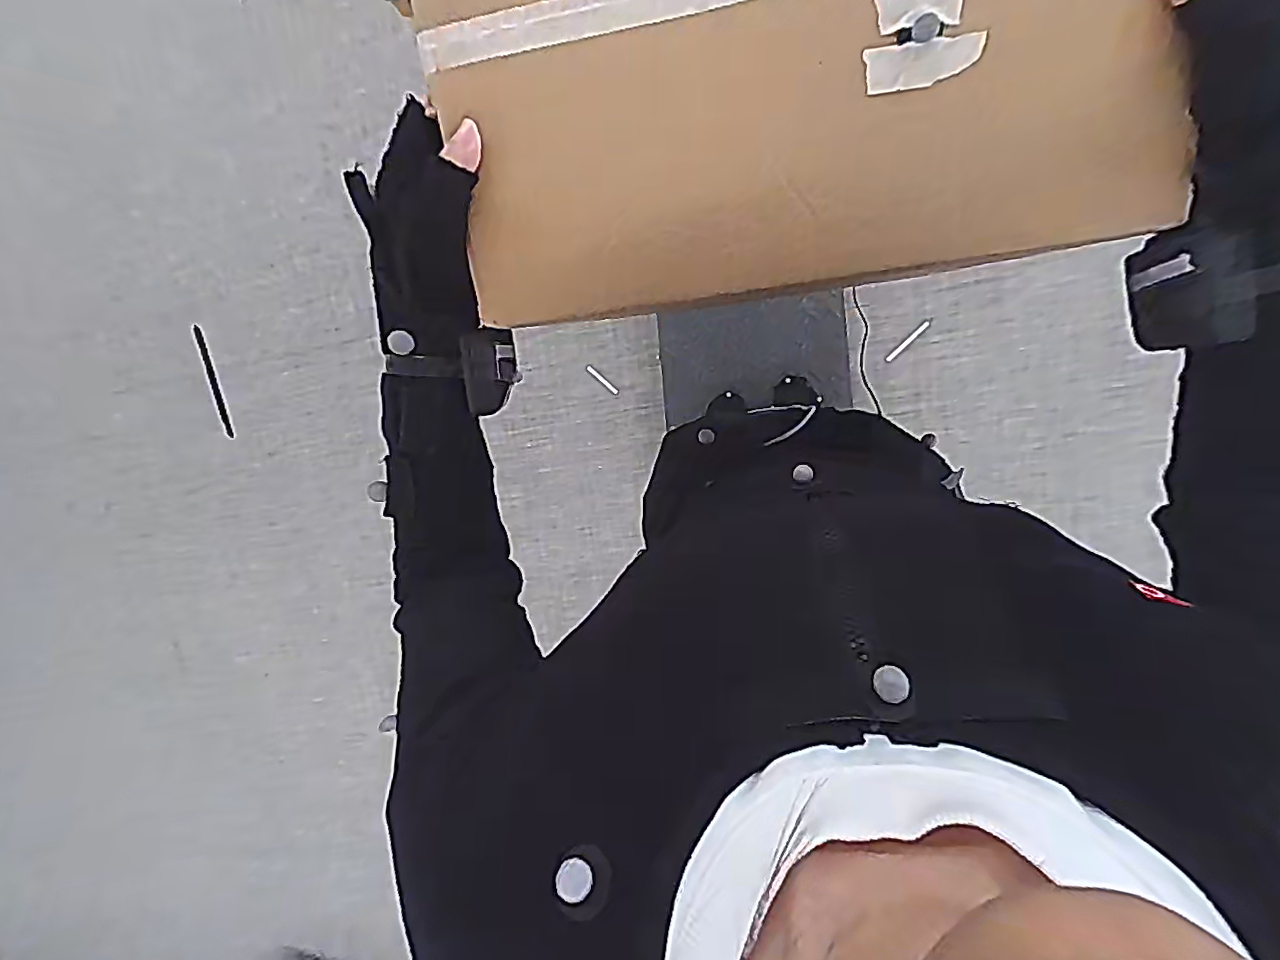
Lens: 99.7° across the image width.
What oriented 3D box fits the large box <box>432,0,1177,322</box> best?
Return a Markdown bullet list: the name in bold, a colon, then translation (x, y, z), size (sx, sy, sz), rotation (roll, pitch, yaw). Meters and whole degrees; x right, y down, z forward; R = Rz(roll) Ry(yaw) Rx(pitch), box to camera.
- **large box**: translation (0.092, -0.317, 0.439), size (0.408, 0.320, 0.320), rotation (-6, 107, 9)
